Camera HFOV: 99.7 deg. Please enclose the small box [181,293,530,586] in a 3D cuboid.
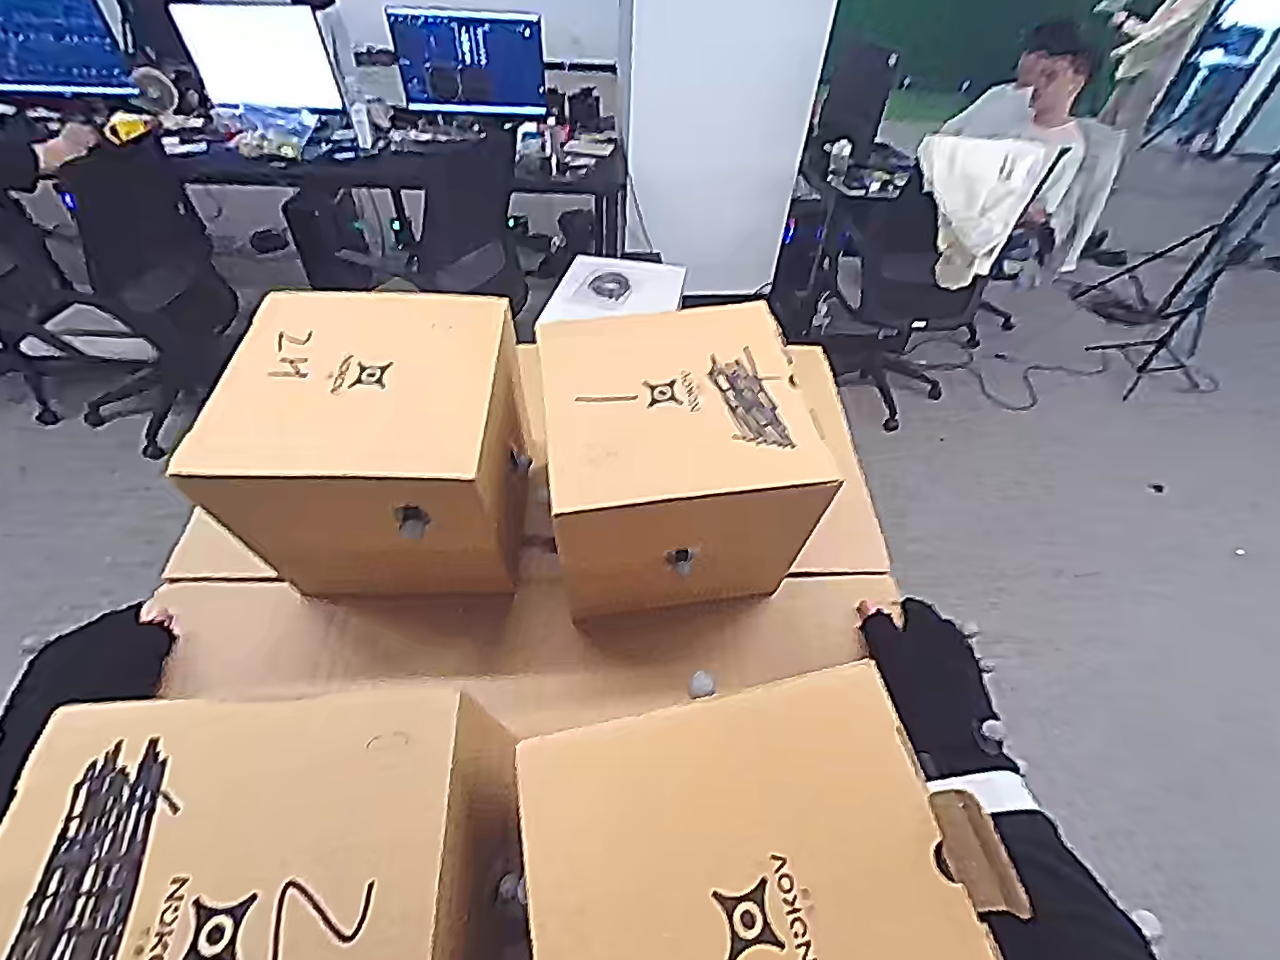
[{"bbox_3d":[-0.189,-0.024,0.431,0.179,0.176,0.168,1,55,-2],"label":"small box"}]
